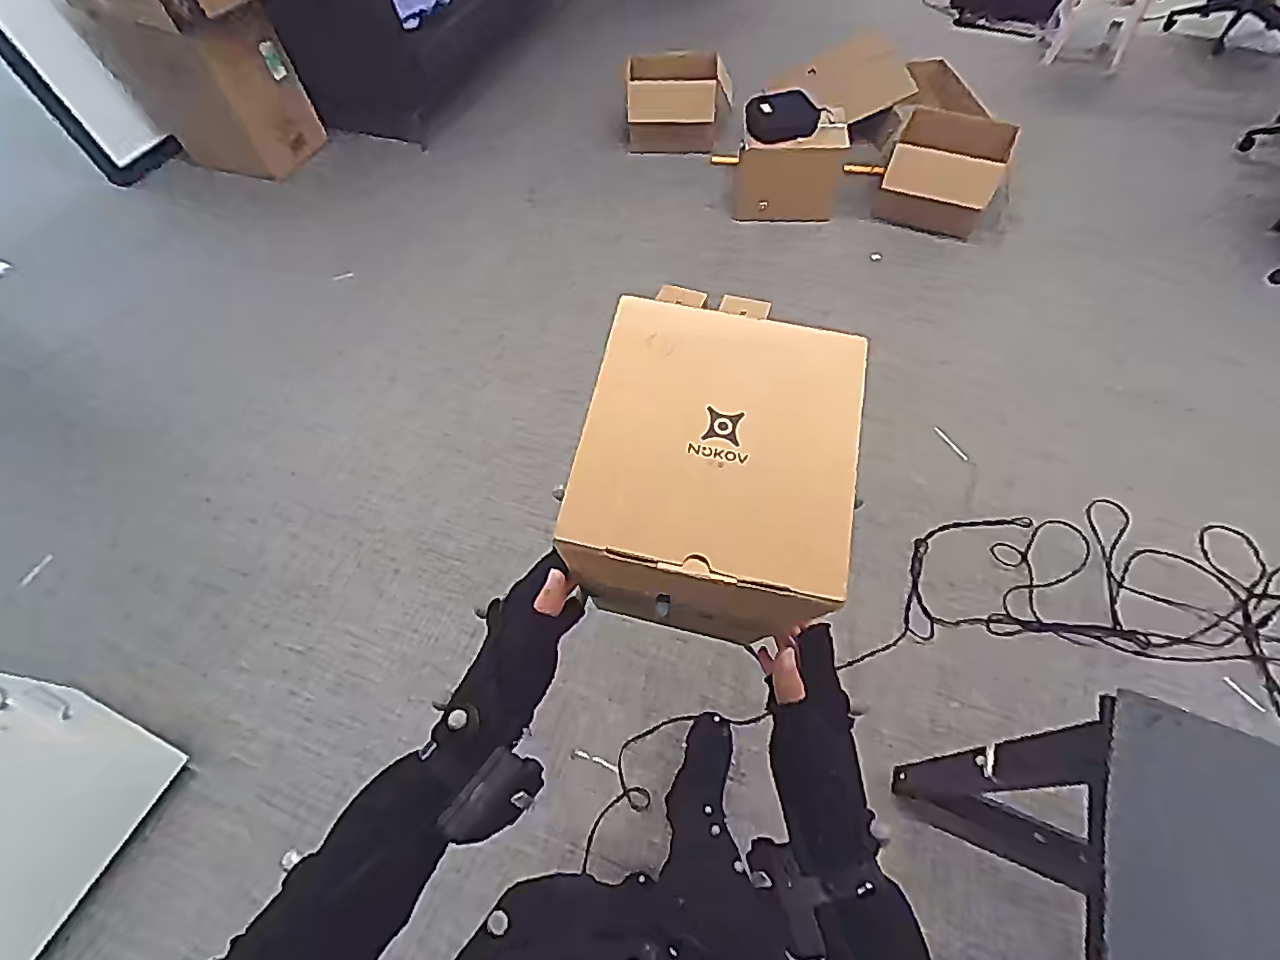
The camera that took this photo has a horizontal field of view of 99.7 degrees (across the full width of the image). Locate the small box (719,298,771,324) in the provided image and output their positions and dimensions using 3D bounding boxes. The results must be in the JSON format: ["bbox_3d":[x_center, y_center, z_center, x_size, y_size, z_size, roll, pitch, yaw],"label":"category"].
[{"bbox_3d":[0.345,-0.497,1.880,0.168,0.176,0.179,16,60,13],"label":"small box"}]

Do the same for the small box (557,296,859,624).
[{"bbox_3d":[0.047,-0.002,0.406,0.168,0.176,0.179,11,70,4],"label":"small box"}]

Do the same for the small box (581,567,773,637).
[{"bbox_3d":[0.051,0.057,0.558,0.179,0.176,0.168,13,69,4],"label":"small box"}]
